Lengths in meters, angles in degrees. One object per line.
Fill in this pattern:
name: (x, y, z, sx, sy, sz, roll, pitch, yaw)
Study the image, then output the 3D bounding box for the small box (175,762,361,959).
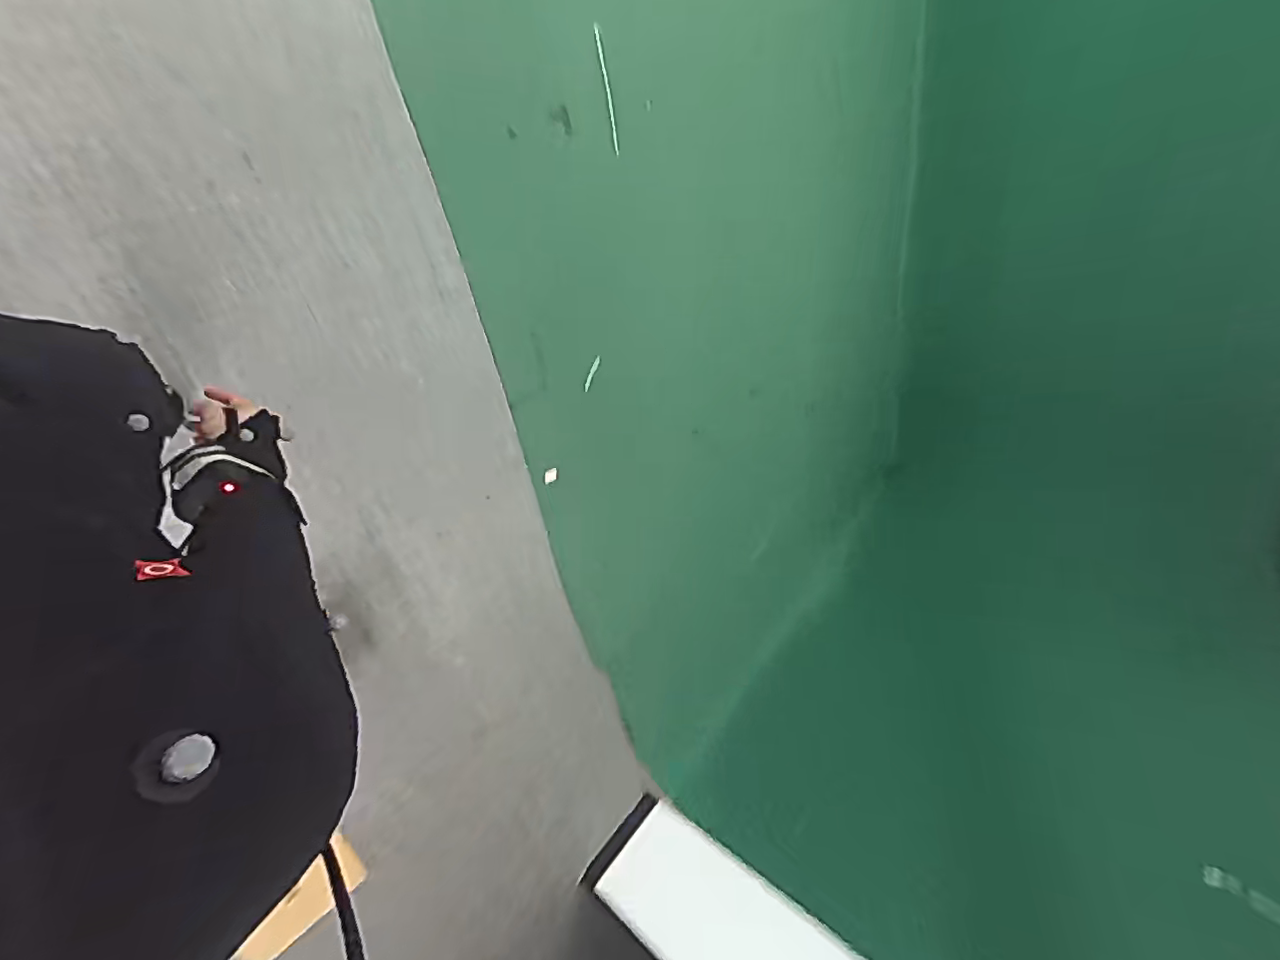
small box: (-0.571, 0.574, 0.833, 0.168, 0.176, 0.179, -31, 126, -36)
